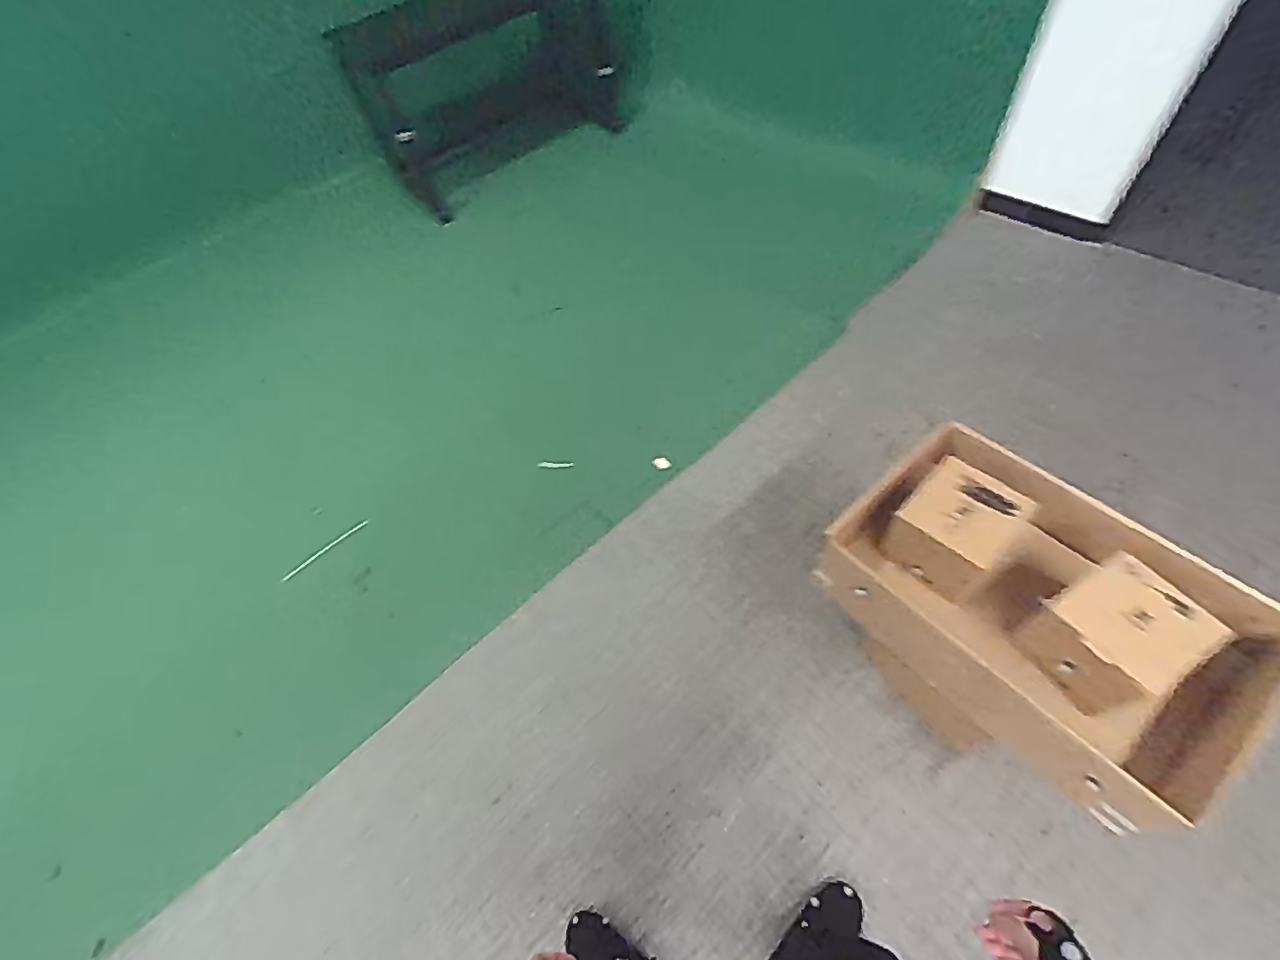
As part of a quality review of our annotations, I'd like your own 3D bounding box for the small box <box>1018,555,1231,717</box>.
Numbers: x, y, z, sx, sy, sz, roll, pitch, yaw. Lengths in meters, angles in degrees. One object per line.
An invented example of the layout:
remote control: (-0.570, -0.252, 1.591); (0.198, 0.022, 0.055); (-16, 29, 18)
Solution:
small box: (0.767, 0.261, 0.886); (0.179, 0.176, 0.168); (-29, 56, -9)
